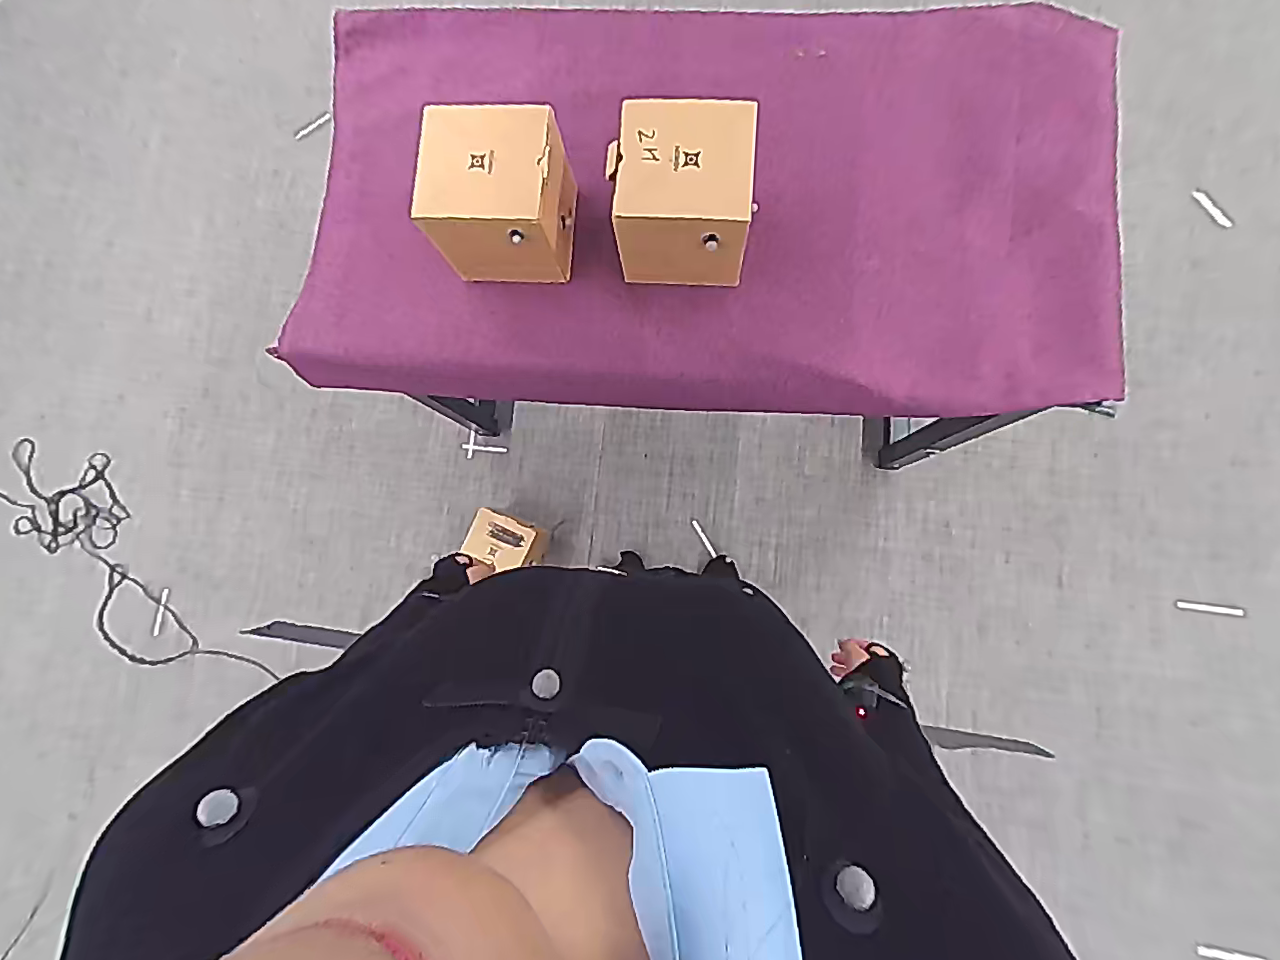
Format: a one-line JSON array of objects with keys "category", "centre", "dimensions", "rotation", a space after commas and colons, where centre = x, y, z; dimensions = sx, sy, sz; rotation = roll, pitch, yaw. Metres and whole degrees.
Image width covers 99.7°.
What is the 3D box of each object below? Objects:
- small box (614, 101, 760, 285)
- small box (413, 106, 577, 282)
[{"category": "small box", "centre": [0.066, -0.390, 0.760], "dimensions": [0.179, 0.176, 0.168], "rotation": [4, 82, 6]}, {"category": "small box", "centre": [-0.199, -0.404, 0.787], "dimensions": [0.179, 0.176, 0.168], "rotation": [3, 82, 5]}]
